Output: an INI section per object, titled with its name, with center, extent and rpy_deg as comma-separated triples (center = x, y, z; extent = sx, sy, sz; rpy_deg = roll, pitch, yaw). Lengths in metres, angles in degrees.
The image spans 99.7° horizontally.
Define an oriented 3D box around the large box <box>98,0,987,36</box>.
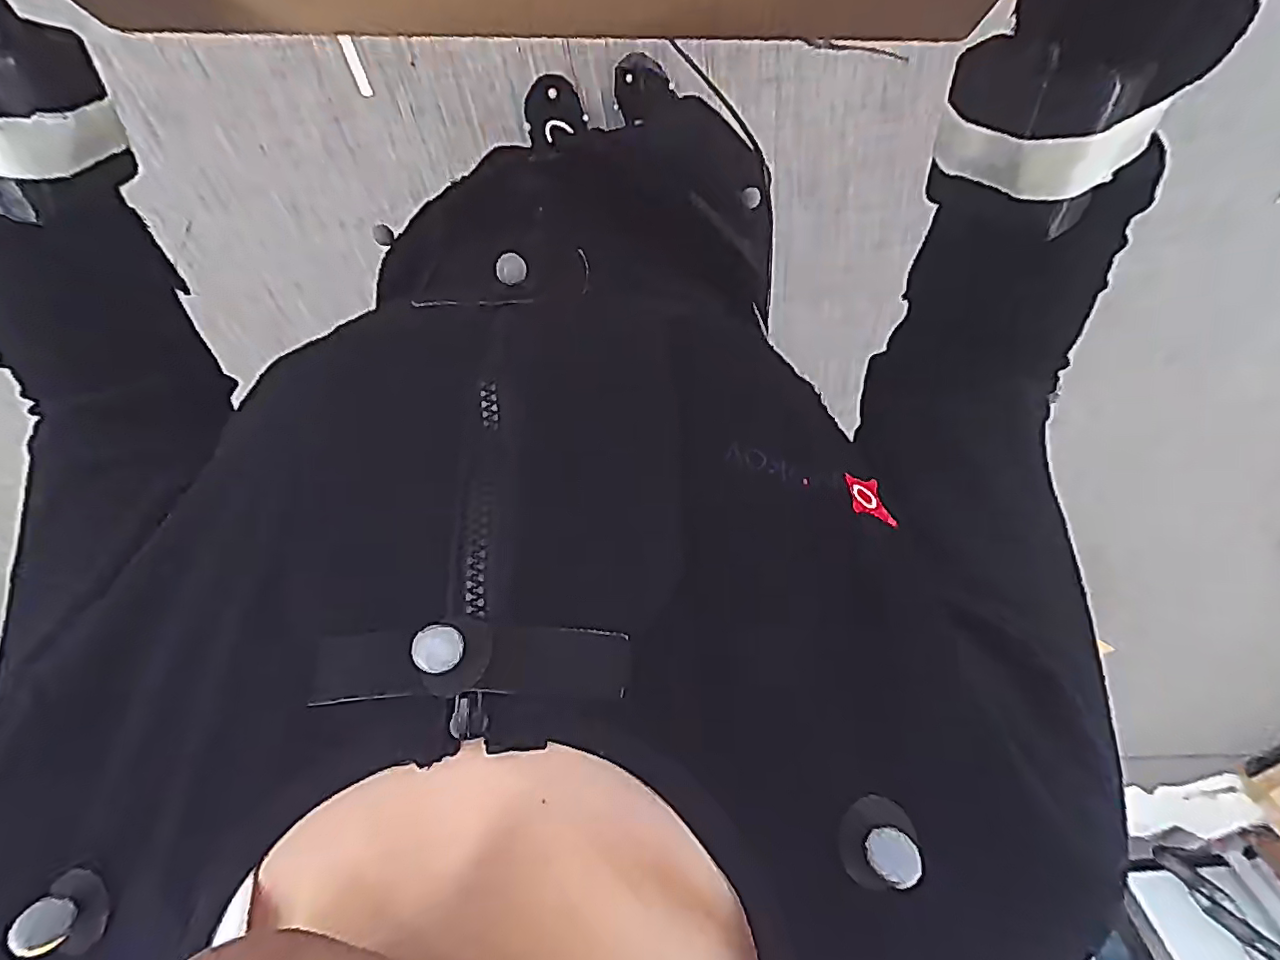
[large box]
center = -0.050, -0.356, 0.099
extent = 0.408, 0.320, 0.320
rpy_deg = 2, 94, 2
